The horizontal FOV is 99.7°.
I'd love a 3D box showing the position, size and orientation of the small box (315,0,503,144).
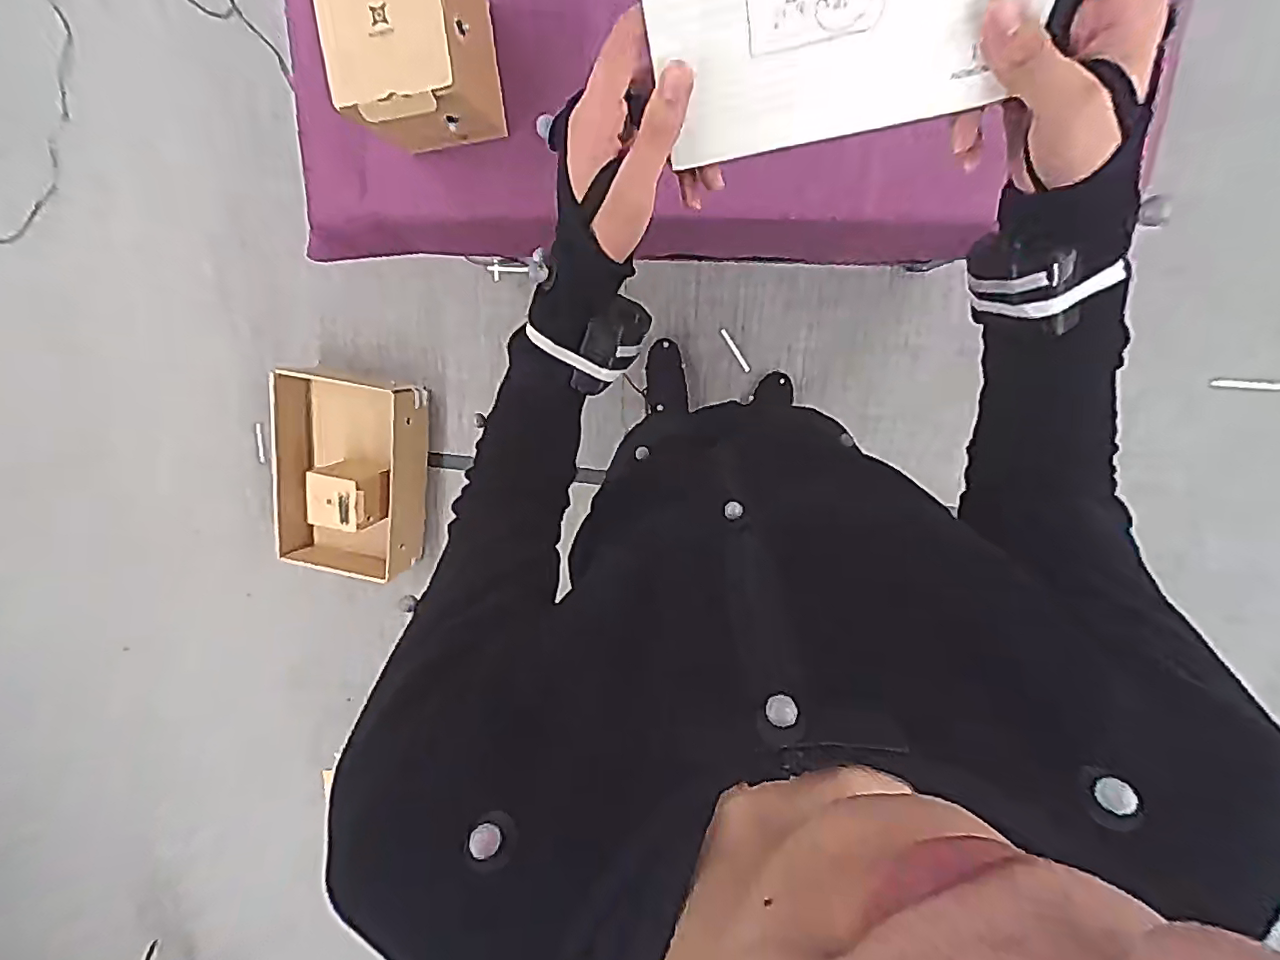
[{"bbox_3d":[-0.298,-0.576,0.725,0.168,0.176,0.179,-3,104,9],"label":"small box"}]
